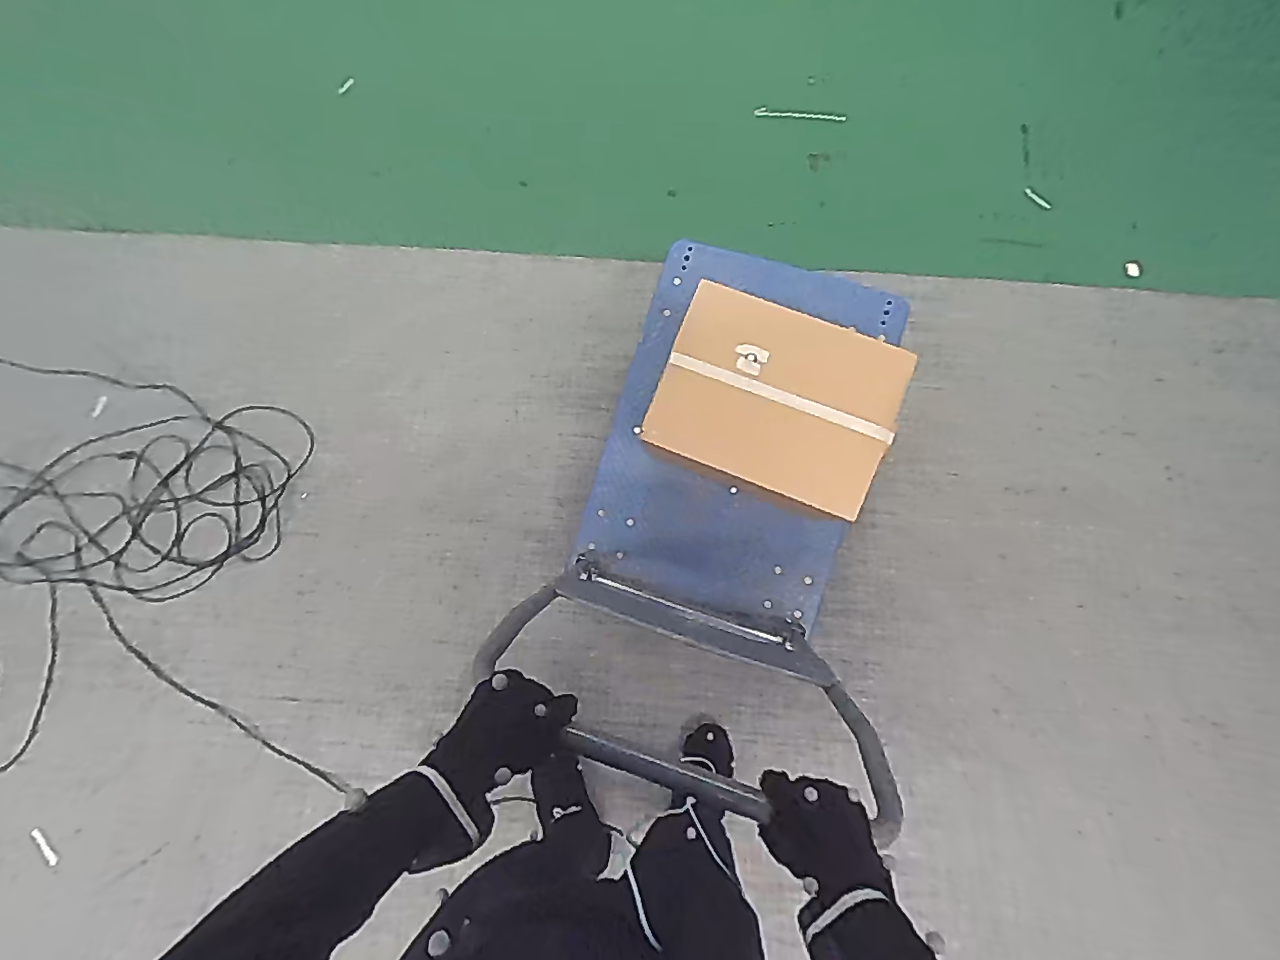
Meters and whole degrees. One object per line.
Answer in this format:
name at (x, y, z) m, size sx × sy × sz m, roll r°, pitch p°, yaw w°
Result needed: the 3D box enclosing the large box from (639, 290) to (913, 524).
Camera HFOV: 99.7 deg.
large box at (0.251, -0.126, 1.096) m, size 0.408 × 0.320 × 0.320 m, roll 22°, pitch 88°, yaw 7°
